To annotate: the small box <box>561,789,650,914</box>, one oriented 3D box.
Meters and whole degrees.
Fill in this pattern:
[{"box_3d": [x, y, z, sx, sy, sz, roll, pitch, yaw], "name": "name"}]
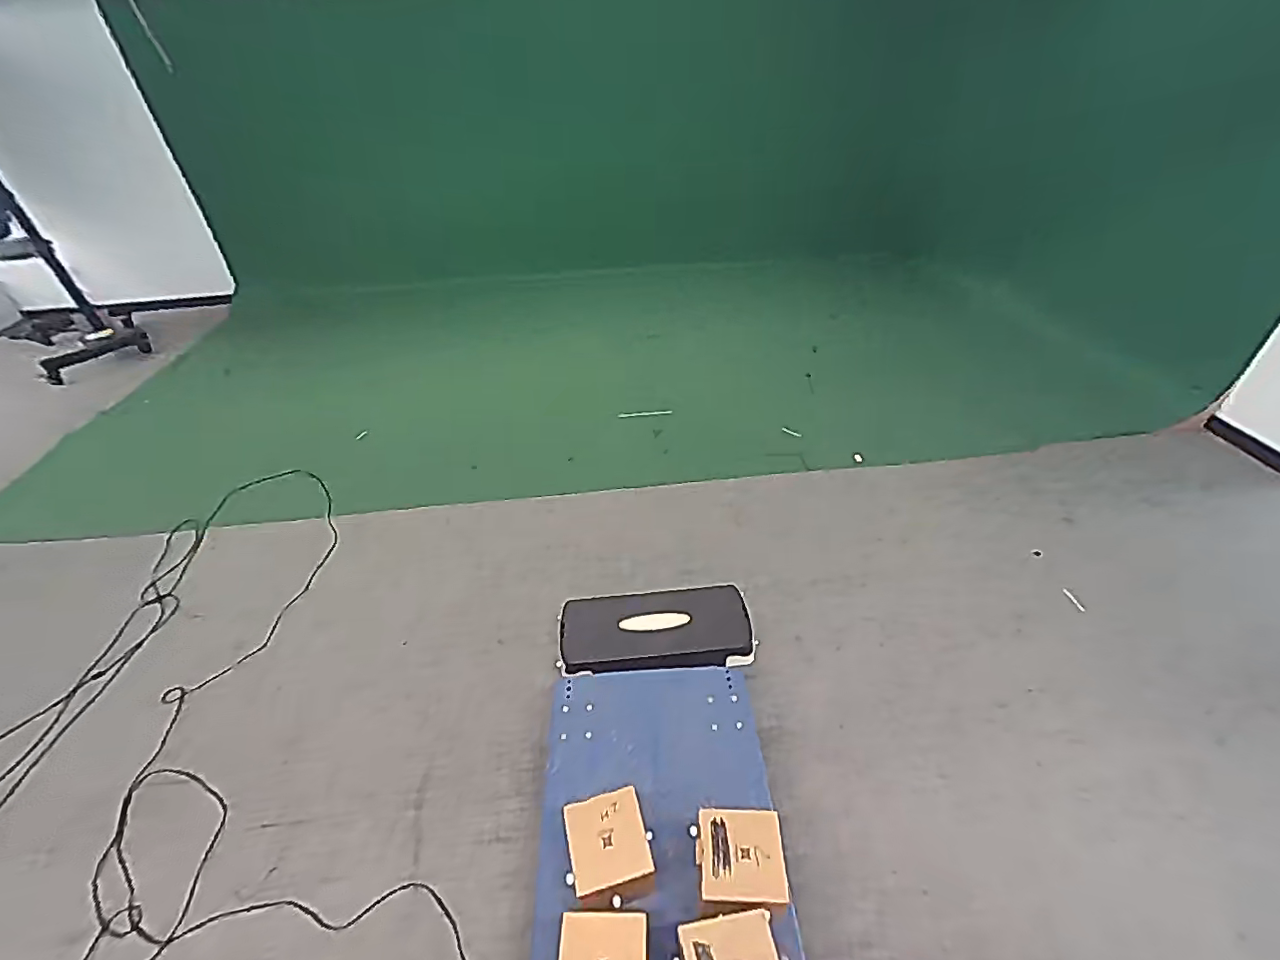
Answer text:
[{"box_3d": [-0.074, 0.832, 1.205, 0.168, 0.176, 0.179, -10, 39, -11], "name": "small box"}]
